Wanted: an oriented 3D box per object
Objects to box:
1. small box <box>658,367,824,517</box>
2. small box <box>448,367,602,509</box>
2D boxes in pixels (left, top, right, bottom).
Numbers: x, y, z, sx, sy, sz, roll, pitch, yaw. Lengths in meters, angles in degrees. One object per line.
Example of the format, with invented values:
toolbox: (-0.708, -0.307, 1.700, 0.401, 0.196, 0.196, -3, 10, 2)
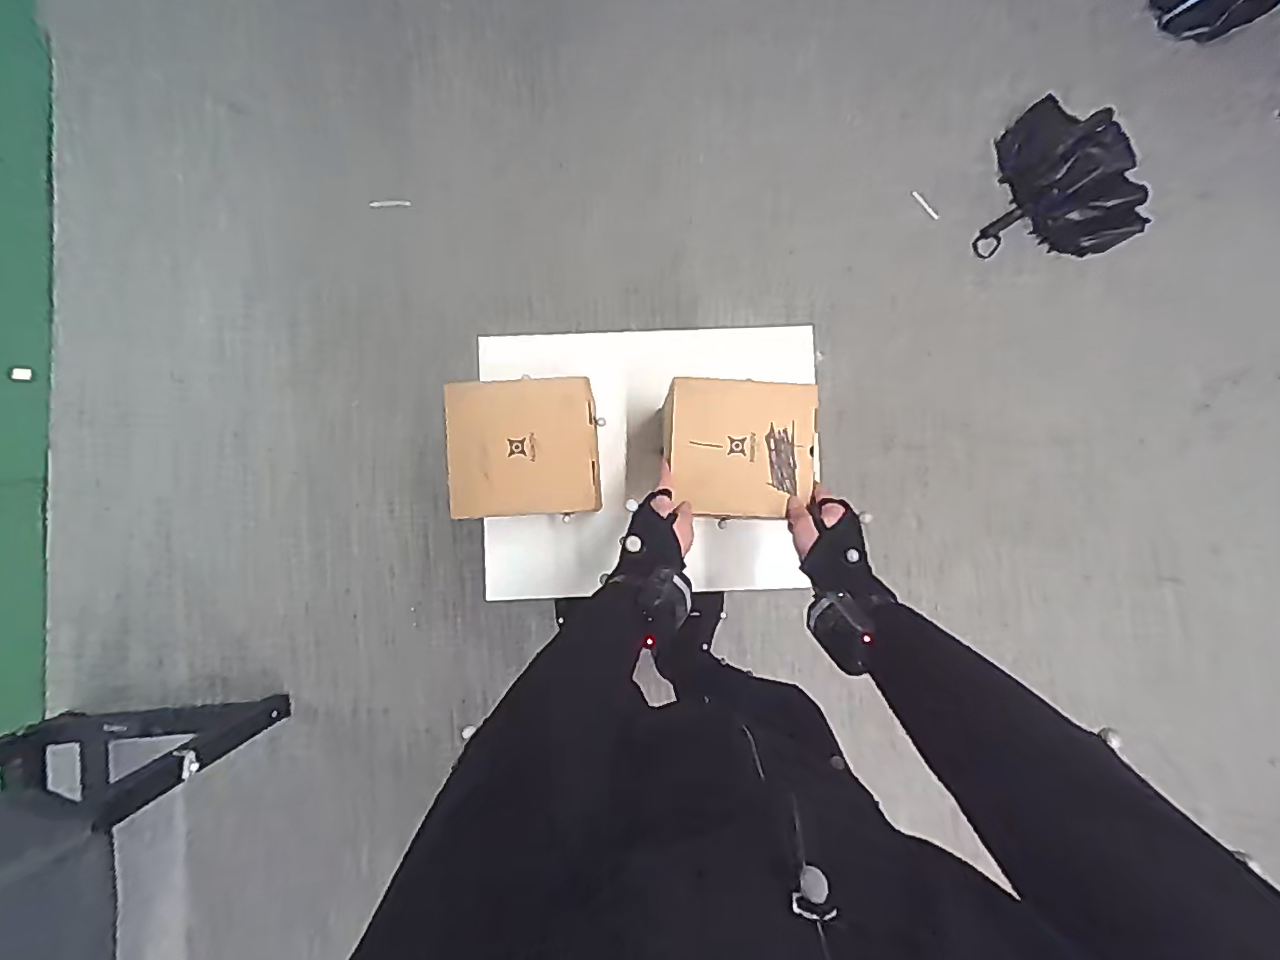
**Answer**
small box: (0.123, -0.039, 0.711, 0.179, 0.176, 0.168, 4, 85, -2)
small box: (-0.140, -0.047, 0.713, 0.179, 0.176, 0.168, -3, 86, -2)
